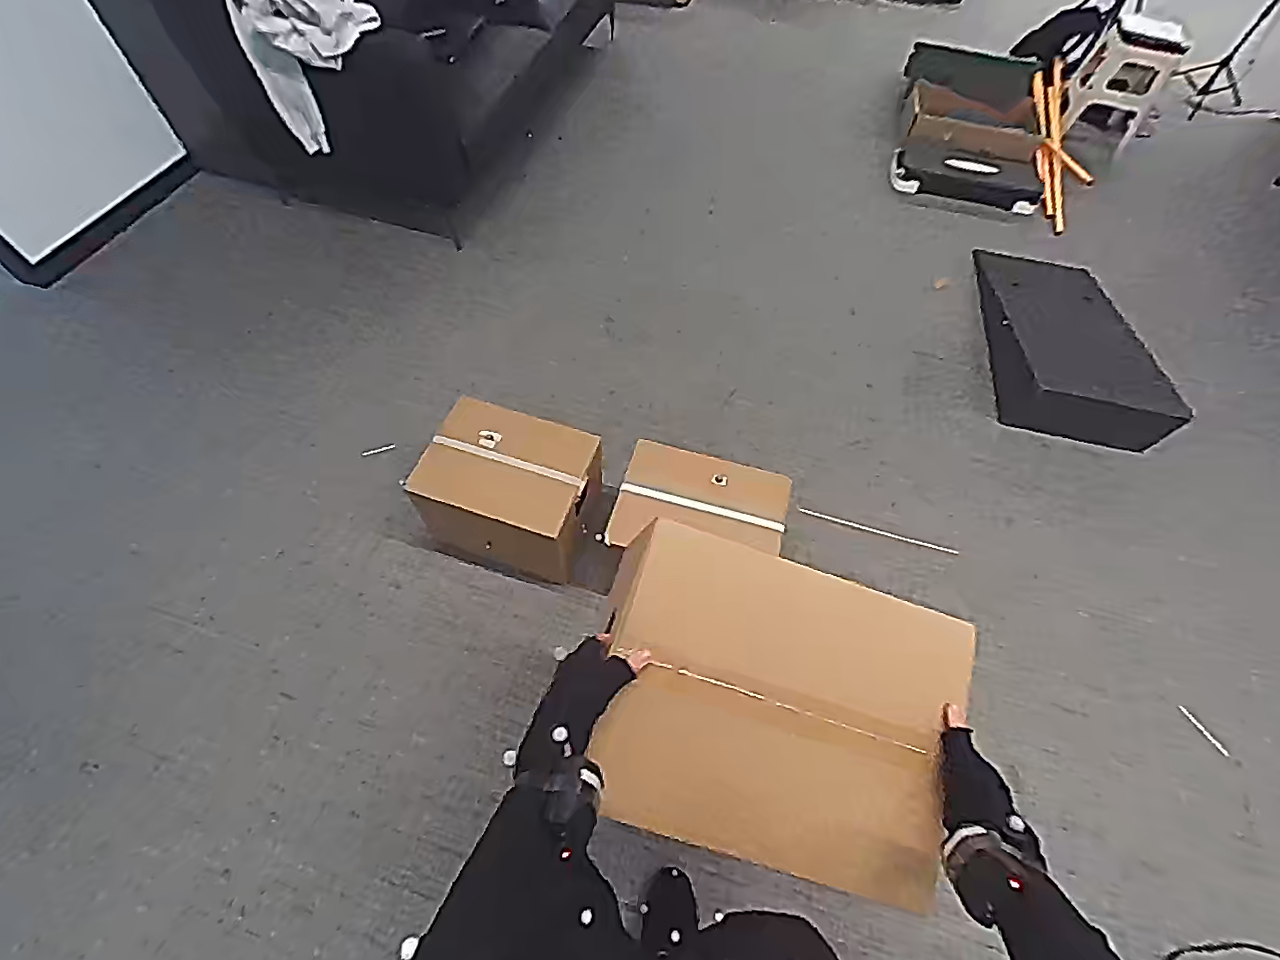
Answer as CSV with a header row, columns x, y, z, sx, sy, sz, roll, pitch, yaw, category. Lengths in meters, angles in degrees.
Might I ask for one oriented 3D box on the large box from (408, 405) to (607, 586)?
x,y,z,sx,sy,sz,roll,pitch,yaw,category
-0.327,0.049,1.475,0.408,0.320,0.320,16,58,8,large box
